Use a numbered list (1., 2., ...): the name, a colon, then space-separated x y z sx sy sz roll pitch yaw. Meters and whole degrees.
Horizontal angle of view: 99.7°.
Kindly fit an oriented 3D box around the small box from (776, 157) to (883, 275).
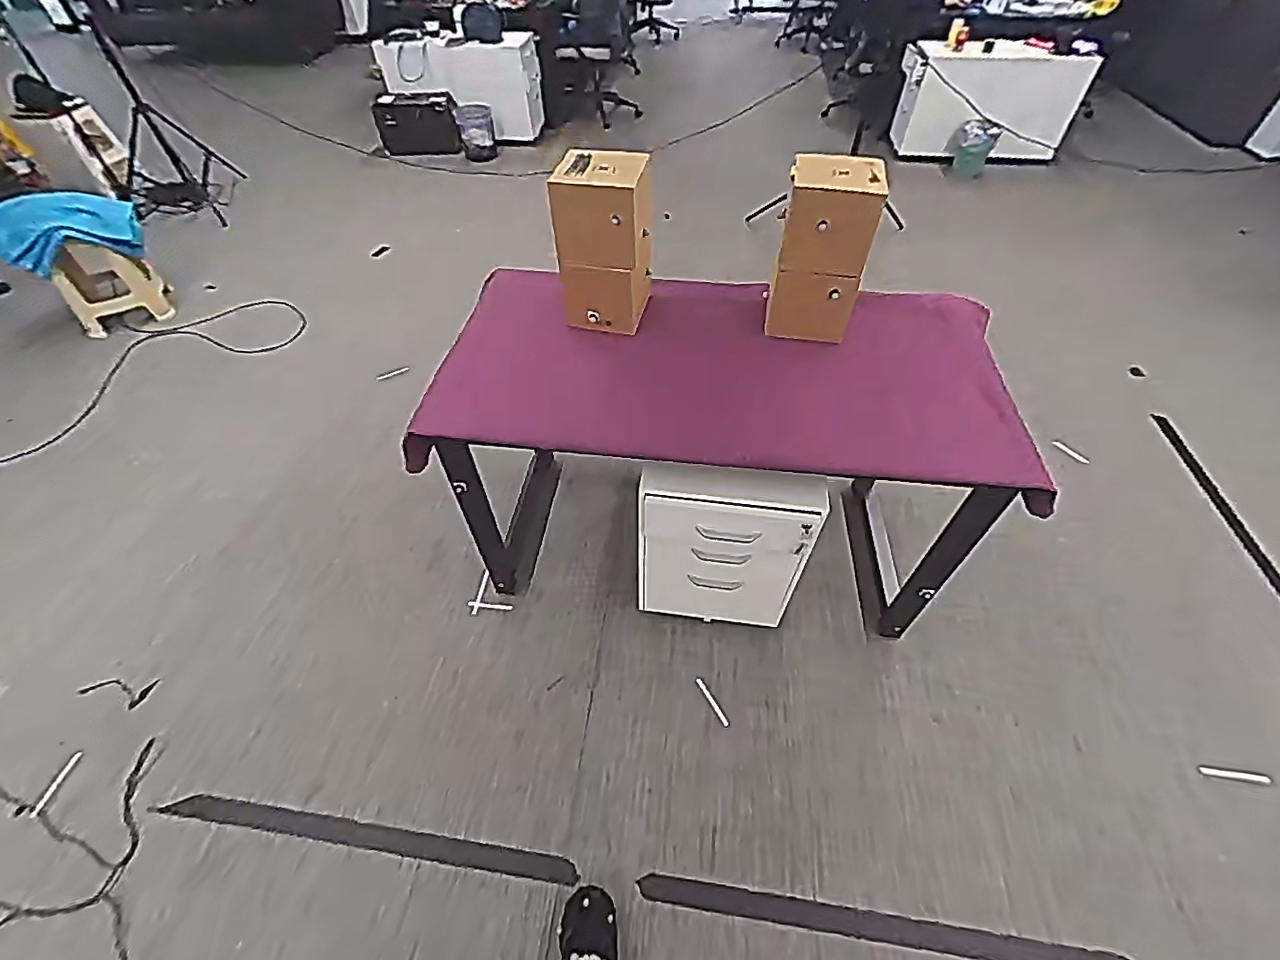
1. small box: 0.382 -0.542 1.114 0.179 0.176 0.168 8 52 9

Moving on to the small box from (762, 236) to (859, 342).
1. small box: 0.385 -0.435 1.239 0.179 0.176 0.168 7 51 8

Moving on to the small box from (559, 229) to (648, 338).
1. small box: -0.078 -0.460 1.268 0.168 0.176 0.179 9 53 9
